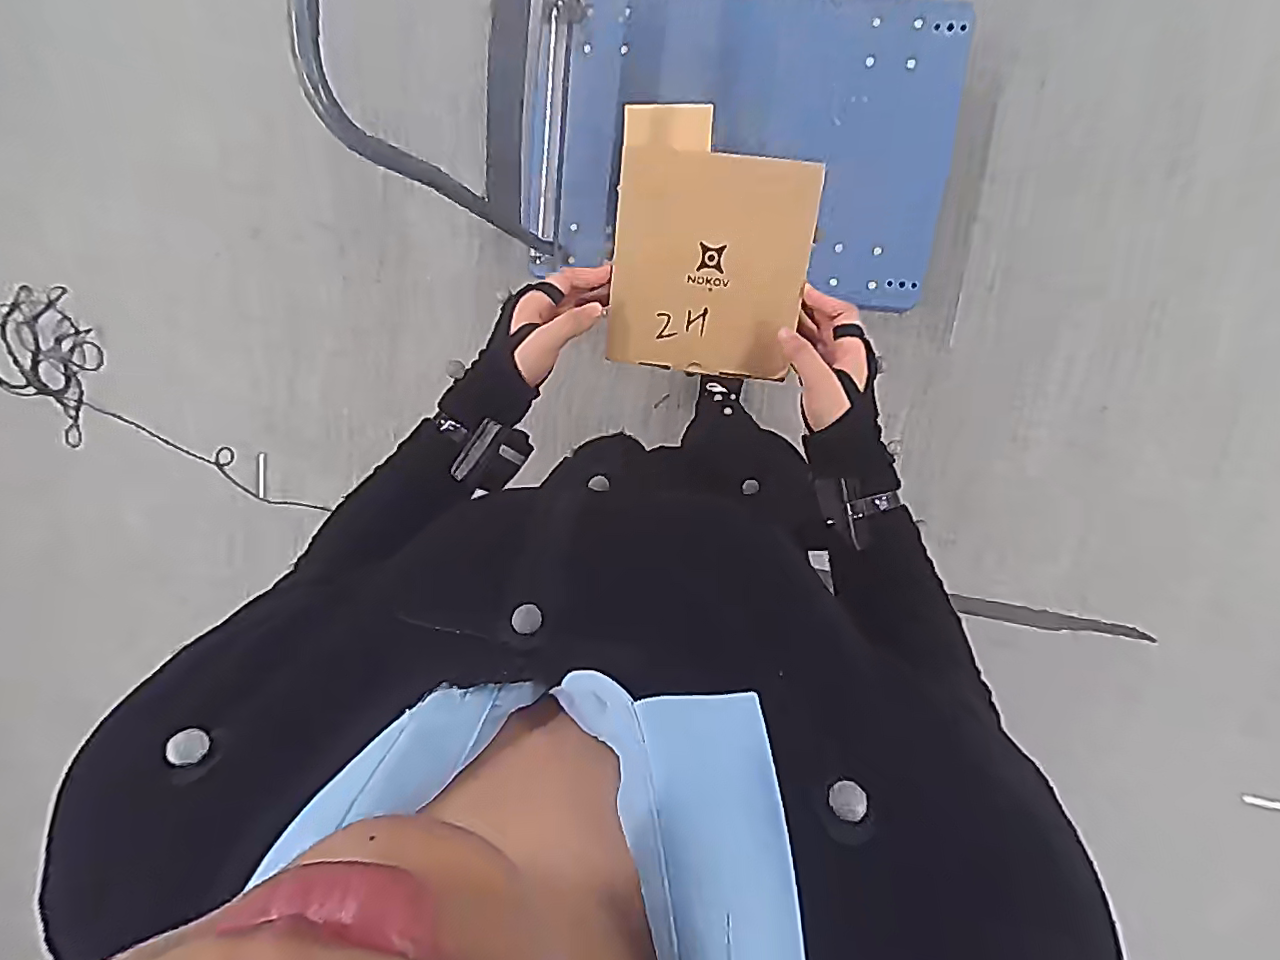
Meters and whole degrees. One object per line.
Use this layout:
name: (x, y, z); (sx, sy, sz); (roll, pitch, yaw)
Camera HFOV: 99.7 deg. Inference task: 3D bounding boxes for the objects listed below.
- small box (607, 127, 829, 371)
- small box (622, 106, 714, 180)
small box: (0.066, -0.211, 0.526); (0.168, 0.176, 0.179); (7, 108, 3)
small box: (0.058, -0.613, 1.084); (0.168, 0.176, 0.179); (4, 101, 6)
